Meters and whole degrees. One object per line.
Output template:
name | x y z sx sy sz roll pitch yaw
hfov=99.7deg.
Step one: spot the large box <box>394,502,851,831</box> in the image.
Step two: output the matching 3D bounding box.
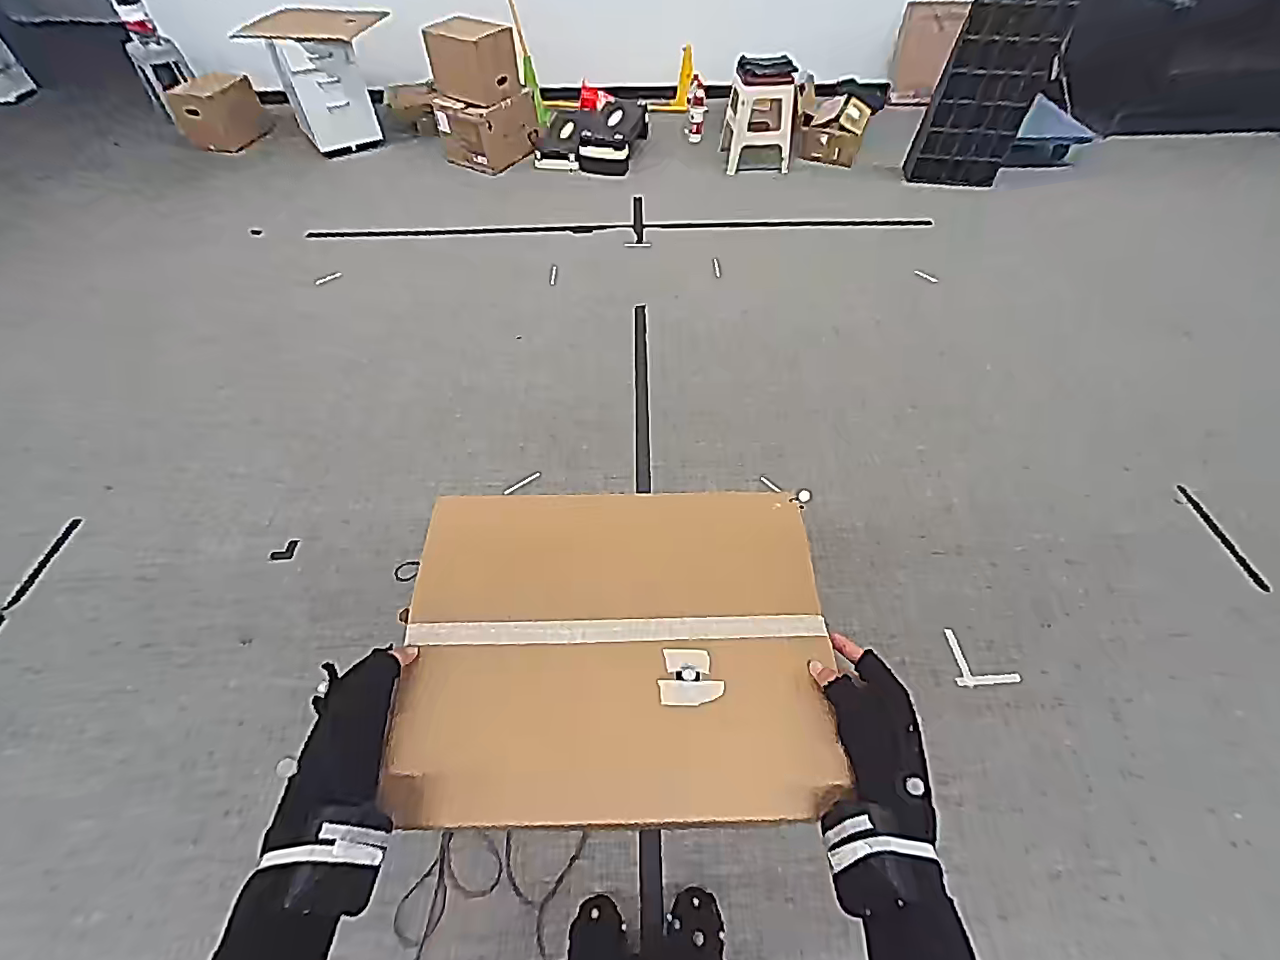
large box | -0.020 0.240 0.667 0.408 0.320 0.320 -1 57 -1
